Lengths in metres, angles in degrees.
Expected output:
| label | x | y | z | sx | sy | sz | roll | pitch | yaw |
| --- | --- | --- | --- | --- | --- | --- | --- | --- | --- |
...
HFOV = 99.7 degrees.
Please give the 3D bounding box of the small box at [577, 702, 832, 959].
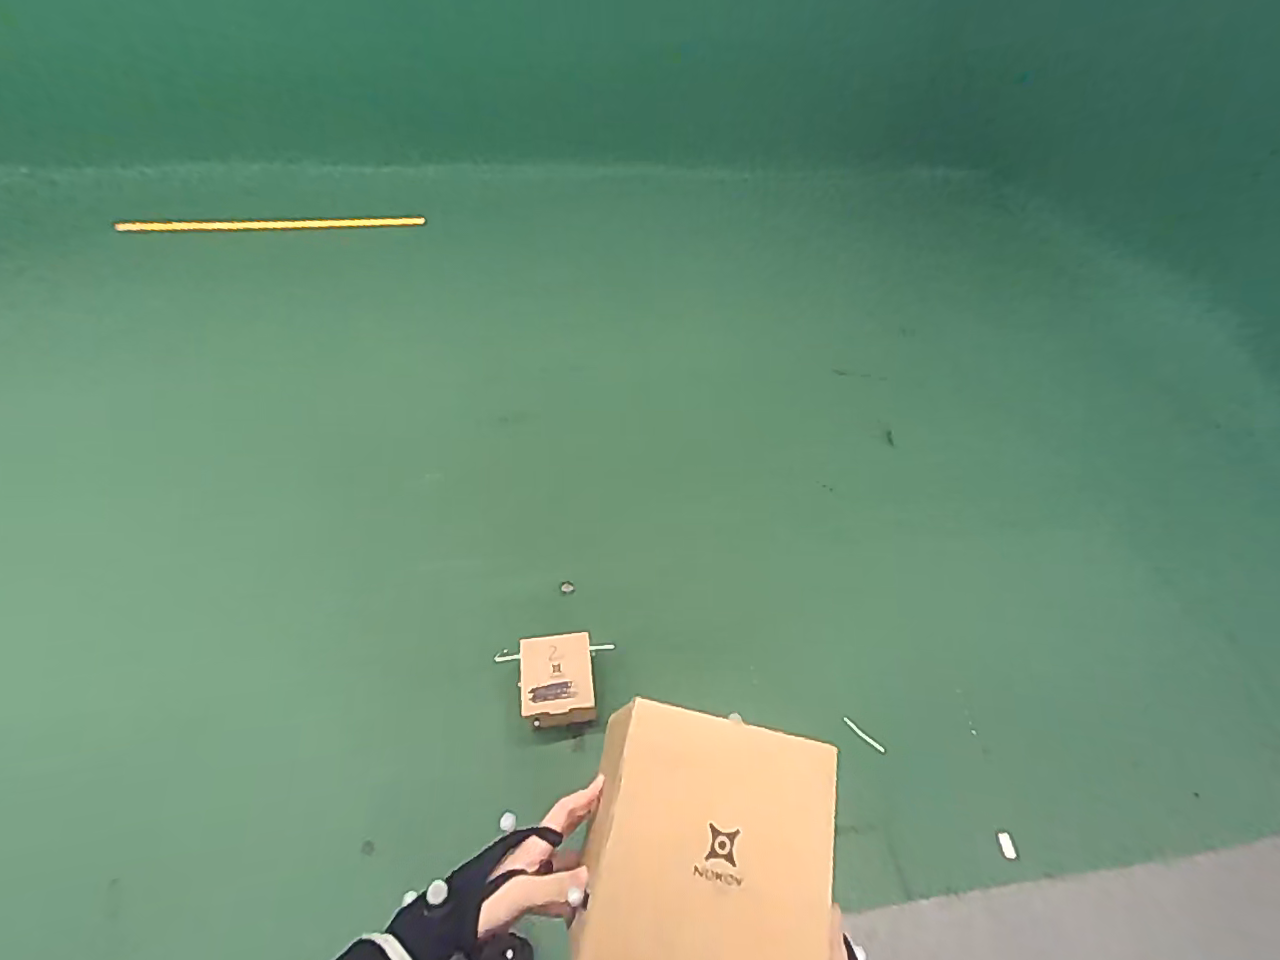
| label | x | y | z | sx | sy | sz | roll | pitch | yaw |
| --- | --- | --- | --- | --- | --- | --- | --- | --- | --- |
| small box | 0.045 | 0.302 | 0.455 | 0.168 | 0.176 | 0.179 | 13 | 62 | -2 |
